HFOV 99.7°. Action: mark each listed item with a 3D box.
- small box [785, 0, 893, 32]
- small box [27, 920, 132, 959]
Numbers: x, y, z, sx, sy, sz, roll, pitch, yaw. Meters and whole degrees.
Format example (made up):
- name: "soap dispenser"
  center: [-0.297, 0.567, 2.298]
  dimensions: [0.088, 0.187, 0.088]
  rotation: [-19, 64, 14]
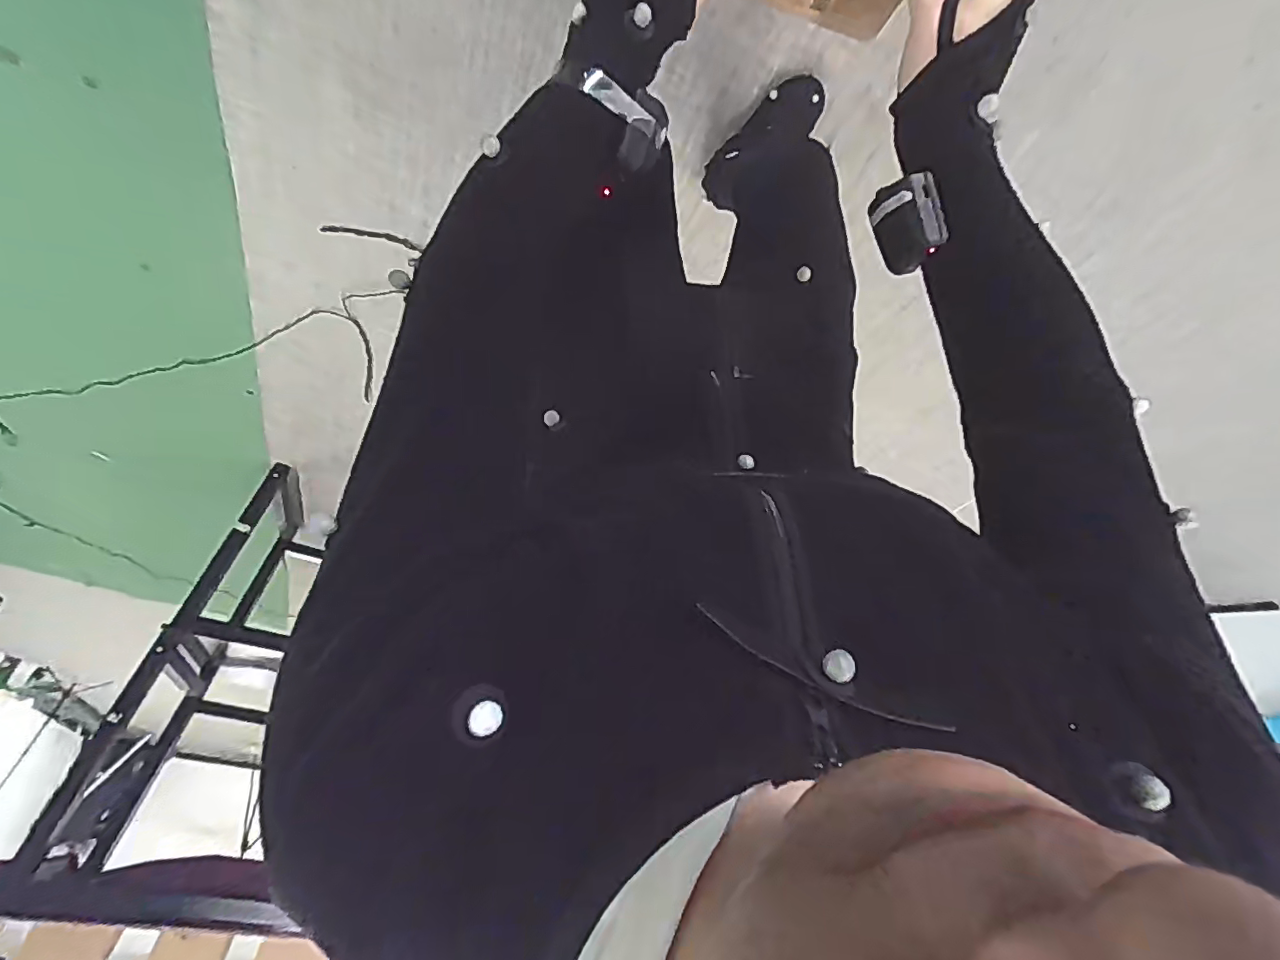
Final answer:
- name: "small box"
  center: [0.157, -0.490, 0.393]
  dimensions: [0.168, 0.179, 0.176]
  rotation: [12, 179, -8]
- name: "small box"
  center: [-1.477, 1.263, 1.407]
  dimensions: [0.179, 0.176, 0.168]
  rotation: [21, 138, -19]
